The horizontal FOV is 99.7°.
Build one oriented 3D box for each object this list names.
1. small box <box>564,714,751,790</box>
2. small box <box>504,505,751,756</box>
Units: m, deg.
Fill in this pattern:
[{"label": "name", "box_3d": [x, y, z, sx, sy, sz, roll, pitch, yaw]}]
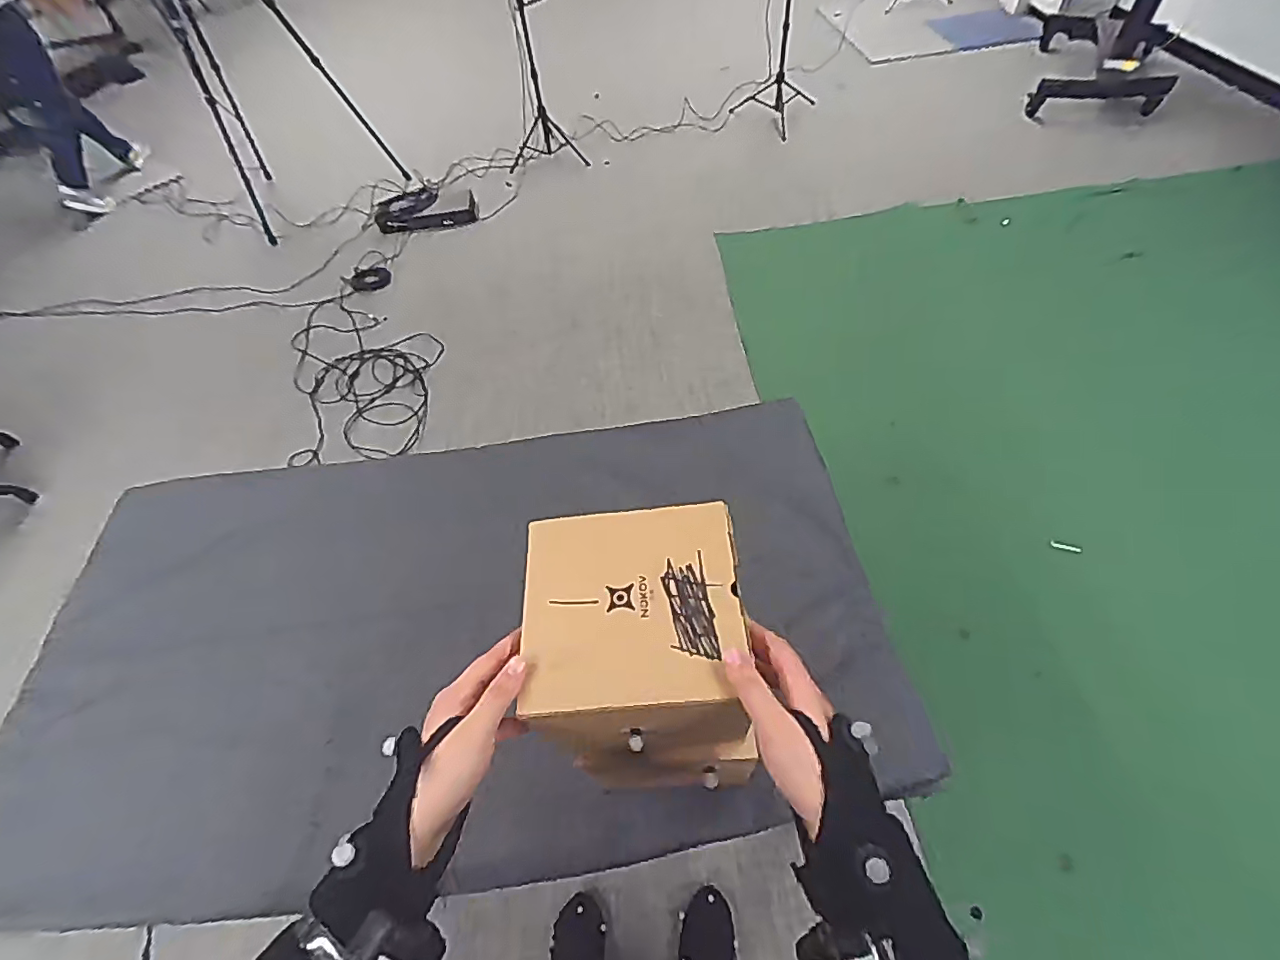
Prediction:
[{"label": "small box", "box_3d": [0.021, 0.245, 0.610, 0.179, 0.176, 0.168, -4, 53, 3]}, {"label": "small box", "box_3d": [-0.006, 0.141, 0.485, 0.179, 0.176, 0.168, -6, 54, 3]}]
